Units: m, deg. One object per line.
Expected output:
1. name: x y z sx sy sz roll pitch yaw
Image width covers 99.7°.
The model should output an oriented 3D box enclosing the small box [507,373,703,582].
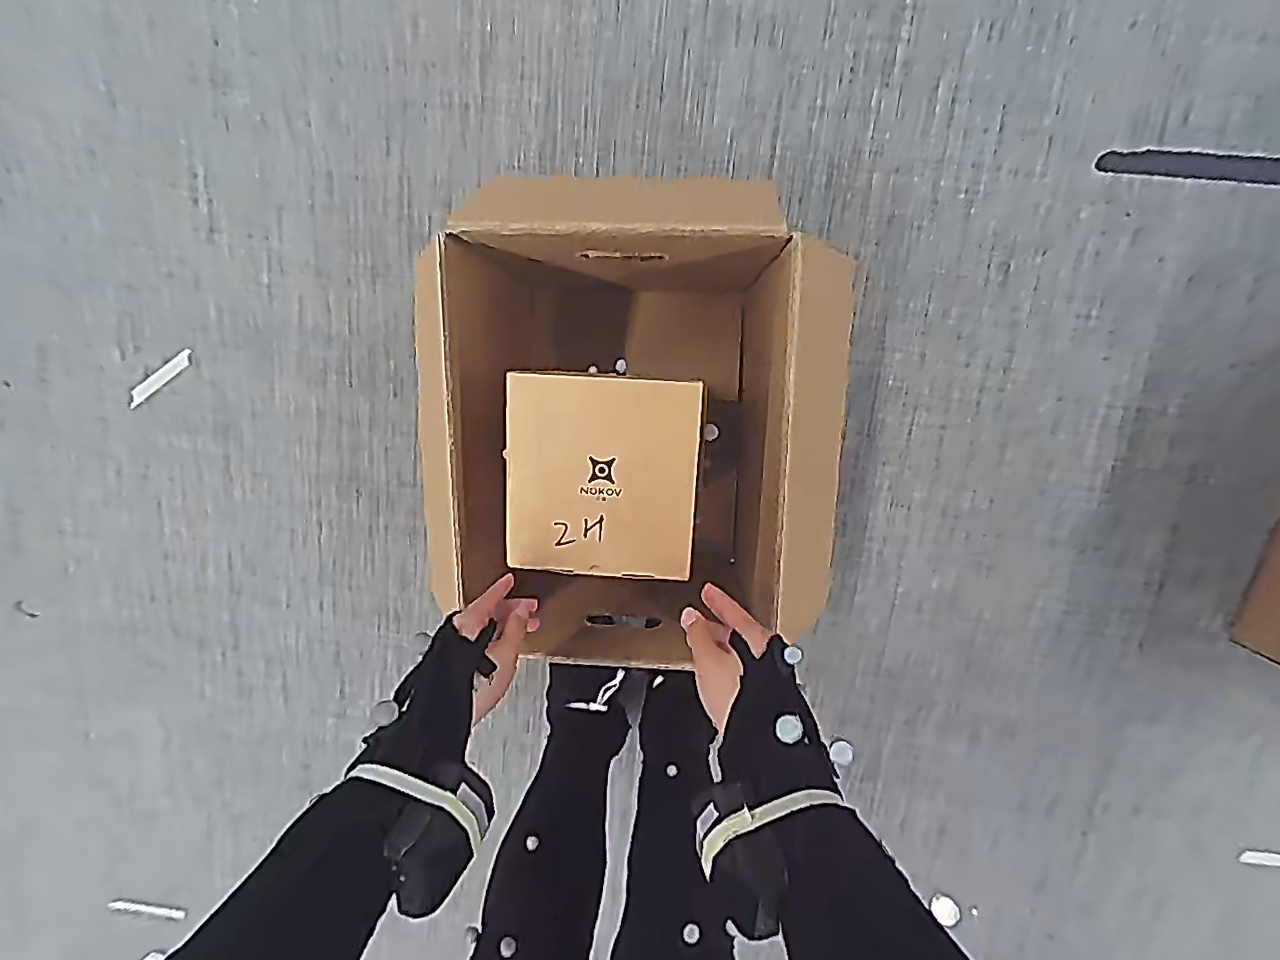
1. small box: -0.029 -0.014 0.545 0.168 0.176 0.179 3 101 3
